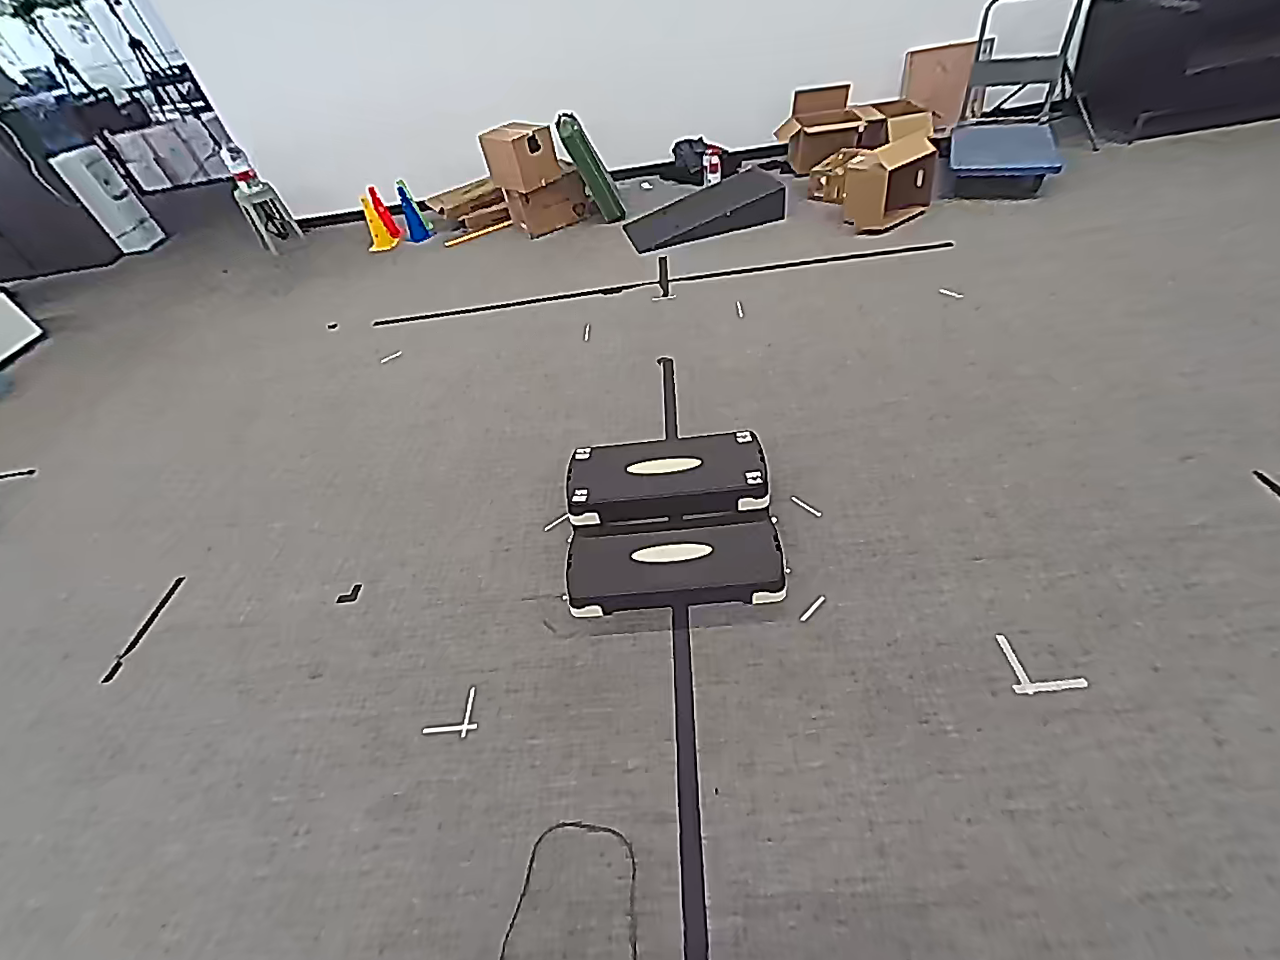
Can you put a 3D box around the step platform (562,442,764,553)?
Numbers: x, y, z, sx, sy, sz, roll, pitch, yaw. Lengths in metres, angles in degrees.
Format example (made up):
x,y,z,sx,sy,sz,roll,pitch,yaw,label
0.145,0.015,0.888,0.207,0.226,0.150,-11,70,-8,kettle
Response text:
x,y,z,sx,sy,sz,roll,pitch,yaw,label
0.075,0.054,1.857,0.684,0.204,0.286,-6,46,4,step platform
